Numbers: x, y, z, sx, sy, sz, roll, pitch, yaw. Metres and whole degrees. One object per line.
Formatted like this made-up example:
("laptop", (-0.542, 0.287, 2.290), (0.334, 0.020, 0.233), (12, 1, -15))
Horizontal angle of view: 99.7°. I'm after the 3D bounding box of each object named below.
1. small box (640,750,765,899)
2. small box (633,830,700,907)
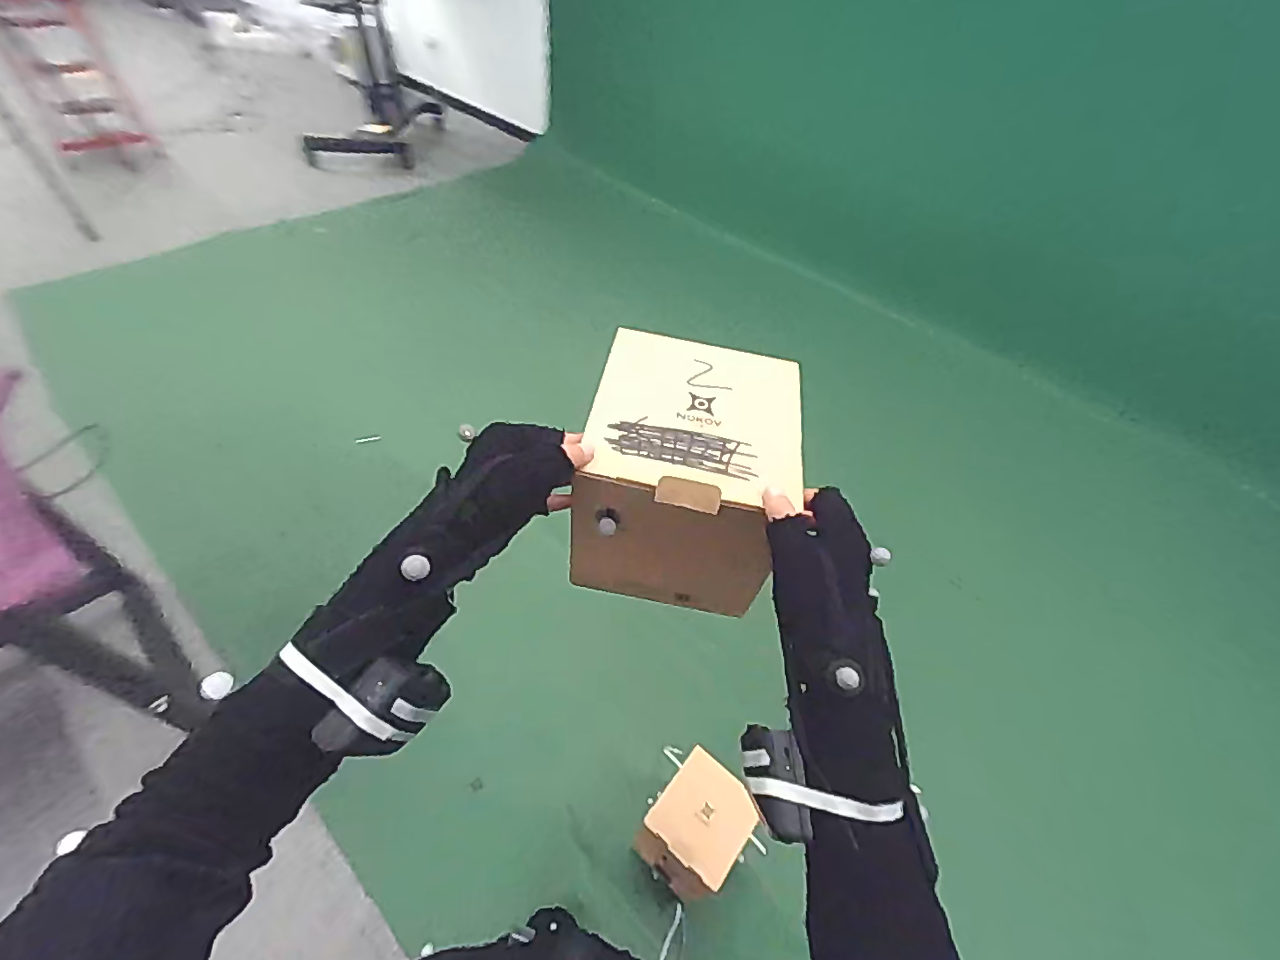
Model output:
("small box", (0.113, 0.678, 1.063), (0.168, 0.176, 0.179), (35, 55, 21))
("small box", (0.100, 0.786, 1.184), (0.168, 0.176, 0.179), (36, 54, 23))
